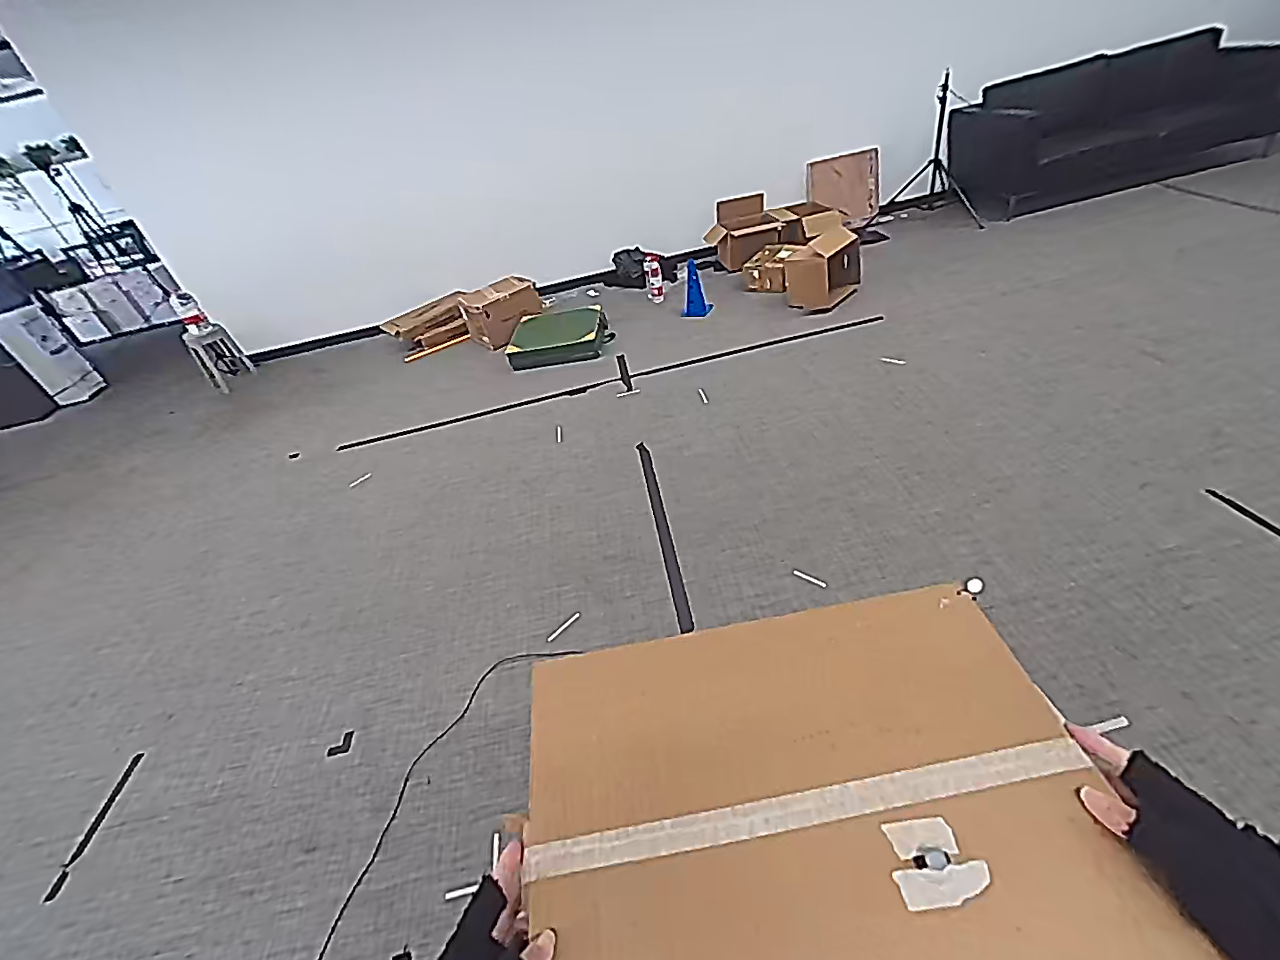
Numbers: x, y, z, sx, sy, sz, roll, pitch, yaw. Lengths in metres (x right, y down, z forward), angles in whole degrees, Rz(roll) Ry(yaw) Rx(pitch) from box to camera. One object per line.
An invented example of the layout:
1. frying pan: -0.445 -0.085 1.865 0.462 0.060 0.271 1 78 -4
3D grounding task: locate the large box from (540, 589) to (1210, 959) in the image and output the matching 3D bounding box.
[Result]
1. large box: 0.139 0.351 0.499 0.408 0.320 0.320 -11 43 -1
